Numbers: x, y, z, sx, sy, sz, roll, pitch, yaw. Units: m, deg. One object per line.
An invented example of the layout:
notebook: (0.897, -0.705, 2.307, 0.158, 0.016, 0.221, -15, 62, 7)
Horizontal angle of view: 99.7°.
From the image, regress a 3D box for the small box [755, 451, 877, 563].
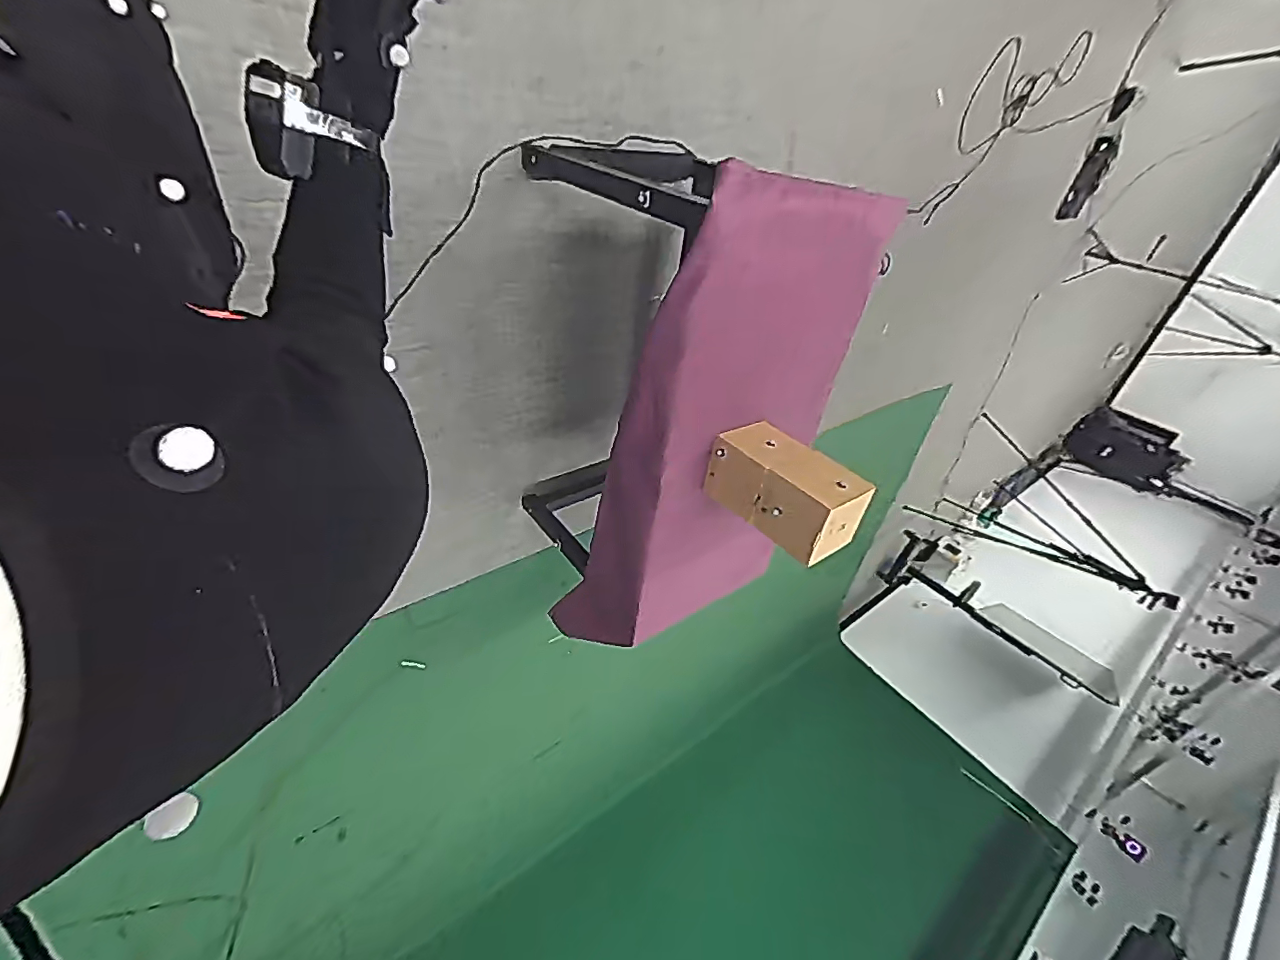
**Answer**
small box: (0.396, 0.052, 1.236, 0.179, 0.176, 0.168, -18, 133, -33)

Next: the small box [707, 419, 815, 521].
small box: (0.291, -0.030, 1.332, 0.179, 0.176, 0.168, -19, 134, -34)
